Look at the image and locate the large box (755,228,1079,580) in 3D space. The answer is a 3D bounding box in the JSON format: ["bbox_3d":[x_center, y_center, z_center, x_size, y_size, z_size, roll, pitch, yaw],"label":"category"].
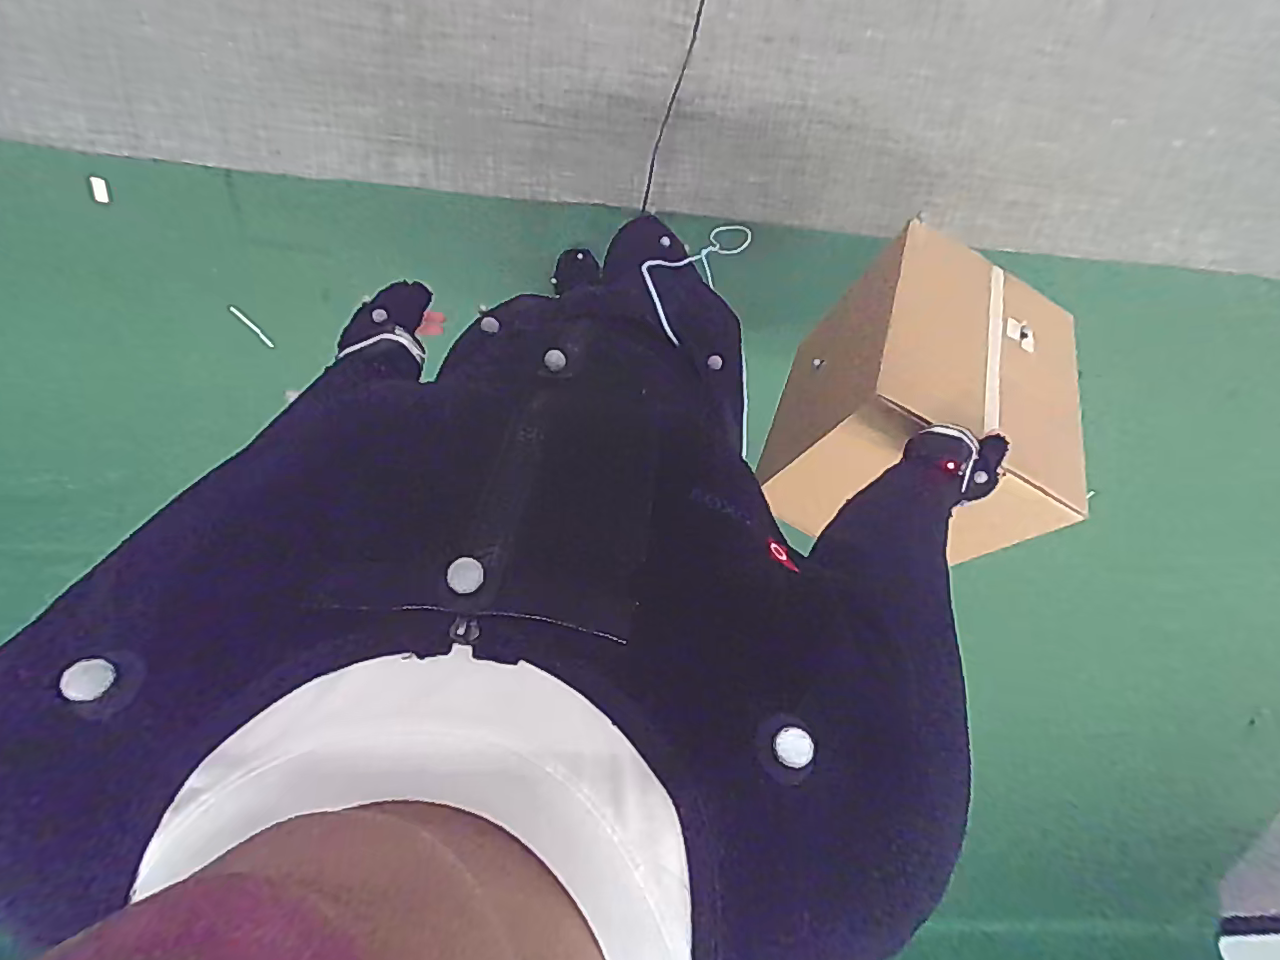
[{"bbox_3d":[0.433,-0.109,0.885,0.320,0.408,0.320,29,148,-6],"label":"large box"}]
